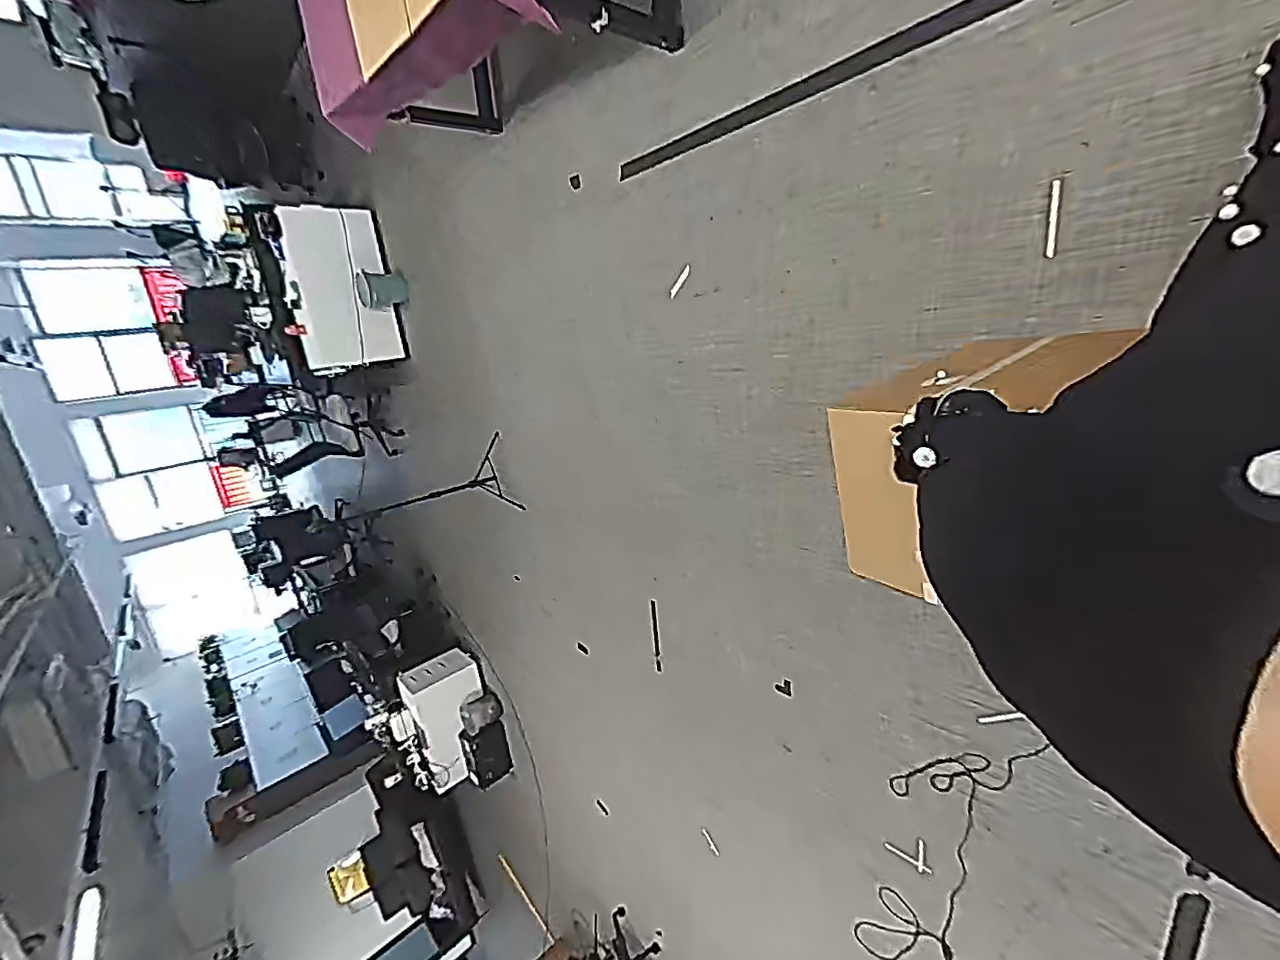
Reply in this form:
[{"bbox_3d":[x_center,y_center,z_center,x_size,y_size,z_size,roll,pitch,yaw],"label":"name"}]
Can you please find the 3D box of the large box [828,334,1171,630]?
[{"bbox_3d":[0.579,-0.028,0.883,0.320,0.408,0.320,16,125,59],"label":"large box"}]
